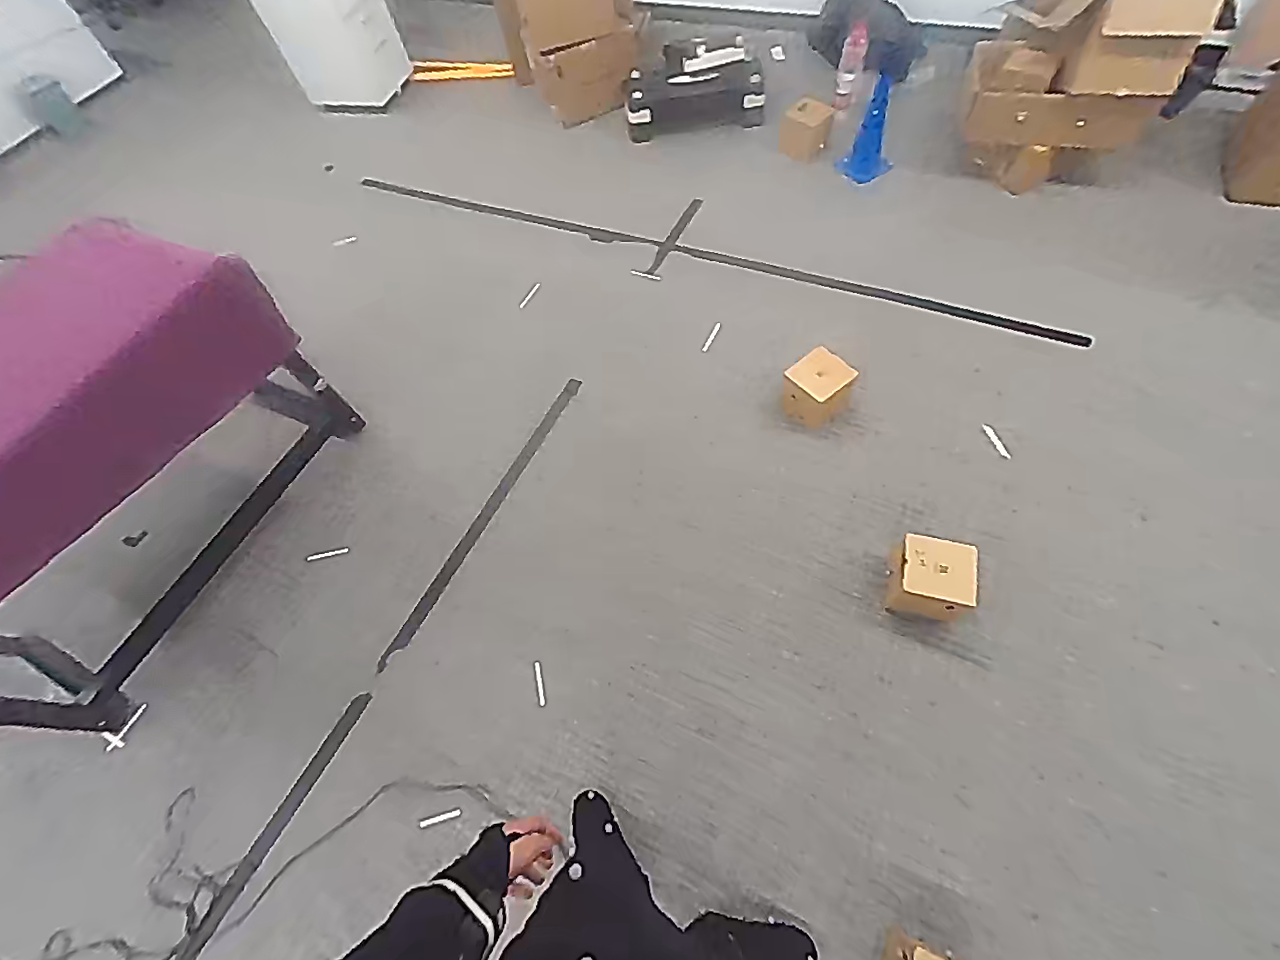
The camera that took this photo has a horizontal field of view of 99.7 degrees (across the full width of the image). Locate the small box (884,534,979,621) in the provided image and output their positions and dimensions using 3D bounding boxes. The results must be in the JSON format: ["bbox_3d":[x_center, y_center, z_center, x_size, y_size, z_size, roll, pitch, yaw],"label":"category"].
[{"bbox_3d":[0.780,0.268,1.455,0.179,0.176,0.168,12,64,13],"label":"small box"}]

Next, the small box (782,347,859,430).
[{"bbox_3d":[0.589,-0.297,1.791,0.179,0.176,0.168,-36,63,-13],"label":"small box"}]
